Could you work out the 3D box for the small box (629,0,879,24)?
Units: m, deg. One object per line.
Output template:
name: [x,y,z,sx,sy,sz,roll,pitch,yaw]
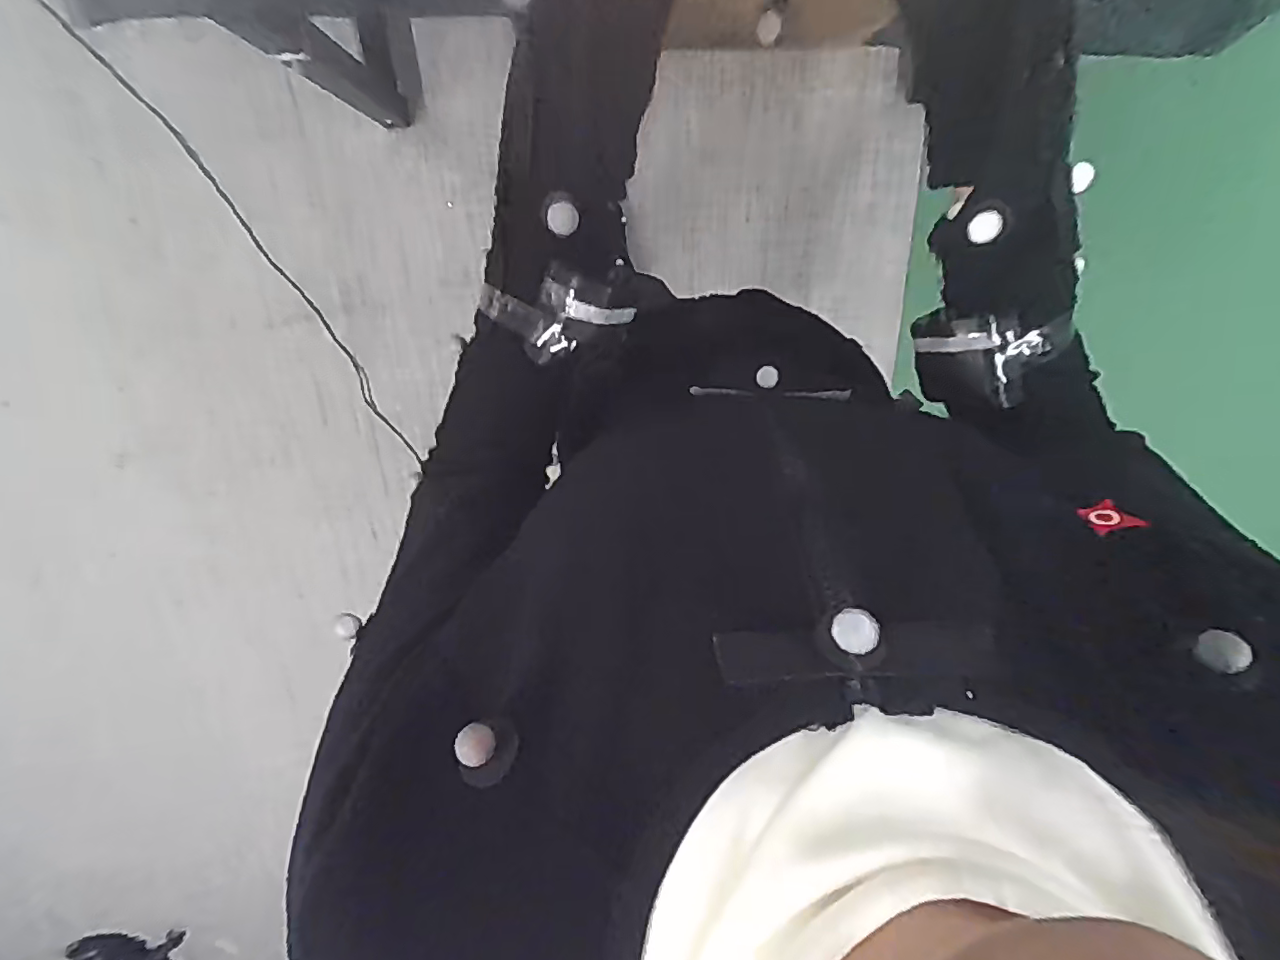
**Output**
small box: [0.070,-0.342,0.250,0.168,0.176,0.179,-4,115,-4]
